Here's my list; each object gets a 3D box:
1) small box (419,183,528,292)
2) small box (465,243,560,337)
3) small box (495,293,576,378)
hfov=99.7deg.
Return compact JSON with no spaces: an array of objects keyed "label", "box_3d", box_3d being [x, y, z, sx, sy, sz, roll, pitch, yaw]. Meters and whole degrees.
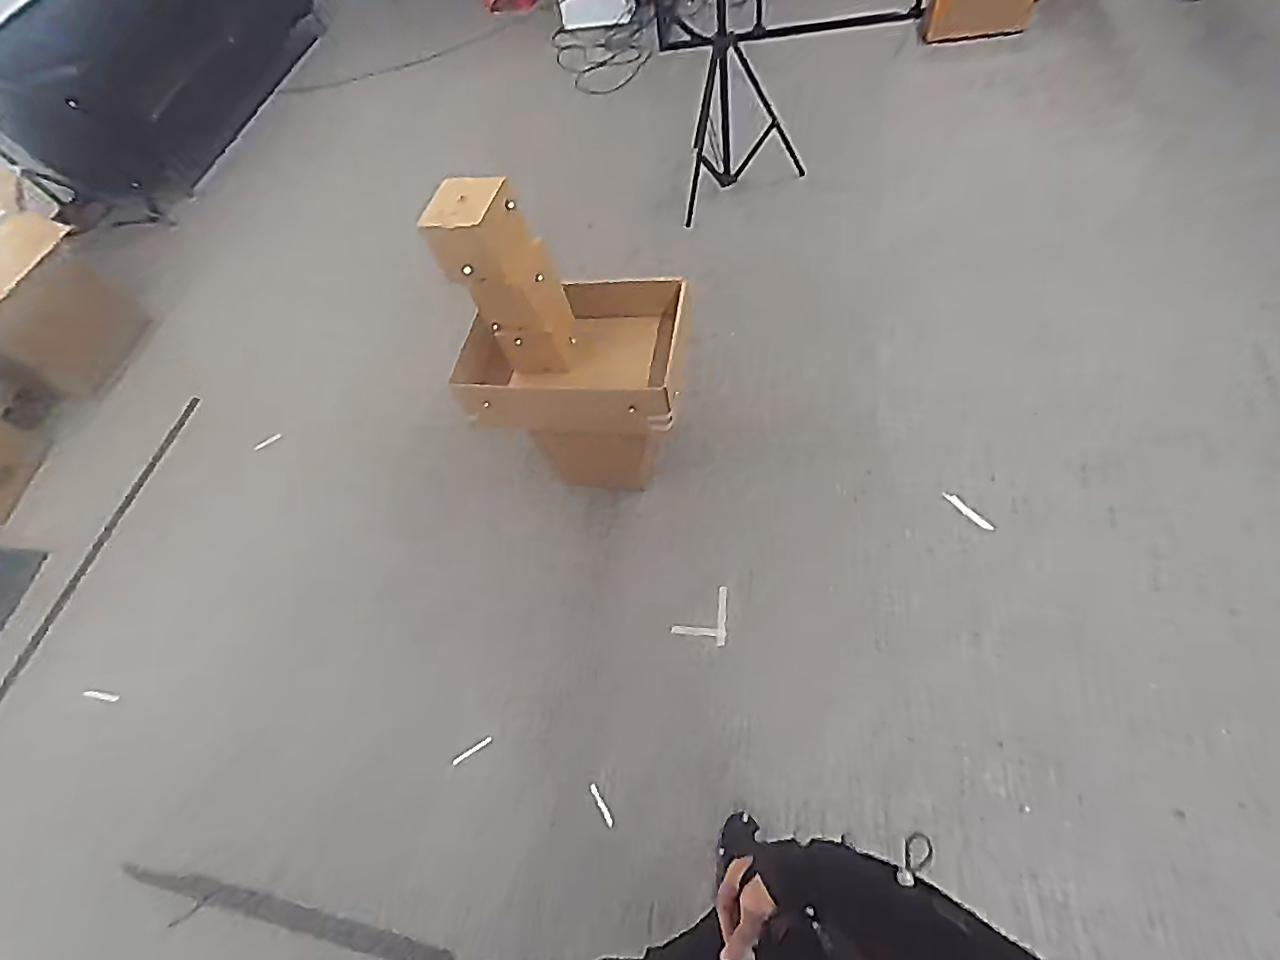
[{"label":"small box","box_3d":[-0.386,-0.579,1.293,0.168,0.176,0.179,8,63,16]},{"label":"small box","box_3d":[-0.326,-0.497,1.426,0.168,0.176,0.179,7,62,15]},{"label":"small box","box_3d":[-0.292,-0.415,1.565,0.168,0.176,0.179,1,60,13]}]
